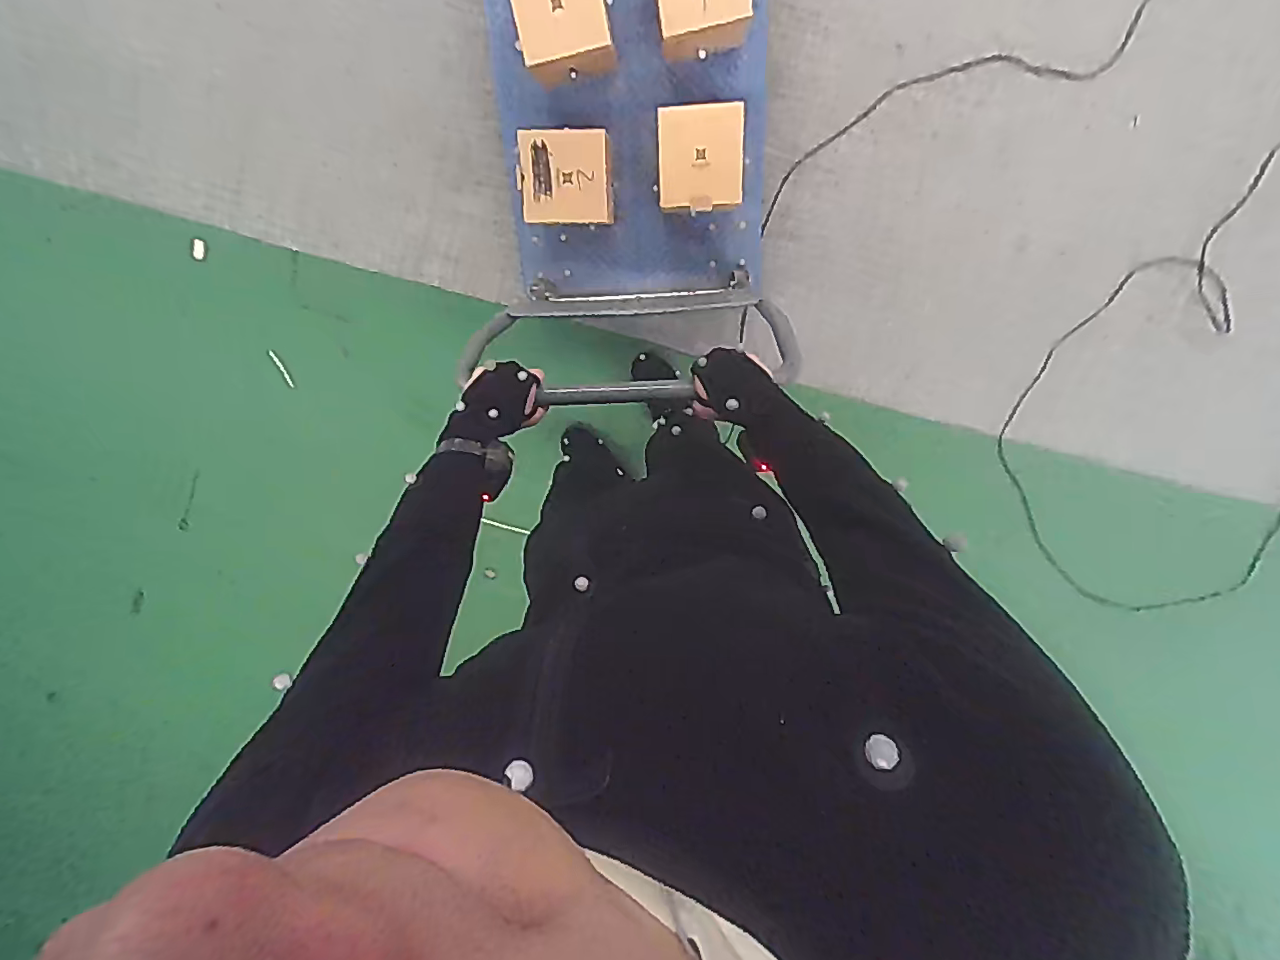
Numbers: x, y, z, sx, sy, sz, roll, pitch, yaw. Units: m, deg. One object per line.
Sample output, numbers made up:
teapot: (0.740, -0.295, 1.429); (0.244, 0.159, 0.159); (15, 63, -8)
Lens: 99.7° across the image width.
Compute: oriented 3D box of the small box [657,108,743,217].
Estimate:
small box: (0.119, -0.657, 1.136); (0.168, 0.176, 0.179); (-2, 114, 3)

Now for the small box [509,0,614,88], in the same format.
small box: (-0.150, -0.887, 1.045); (0.168, 0.176, 0.179); (-9, 113, 6)

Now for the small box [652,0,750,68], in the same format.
small box: (0.108, -0.919, 1.020); (0.168, 0.176, 0.179); (-8, 114, 7)
